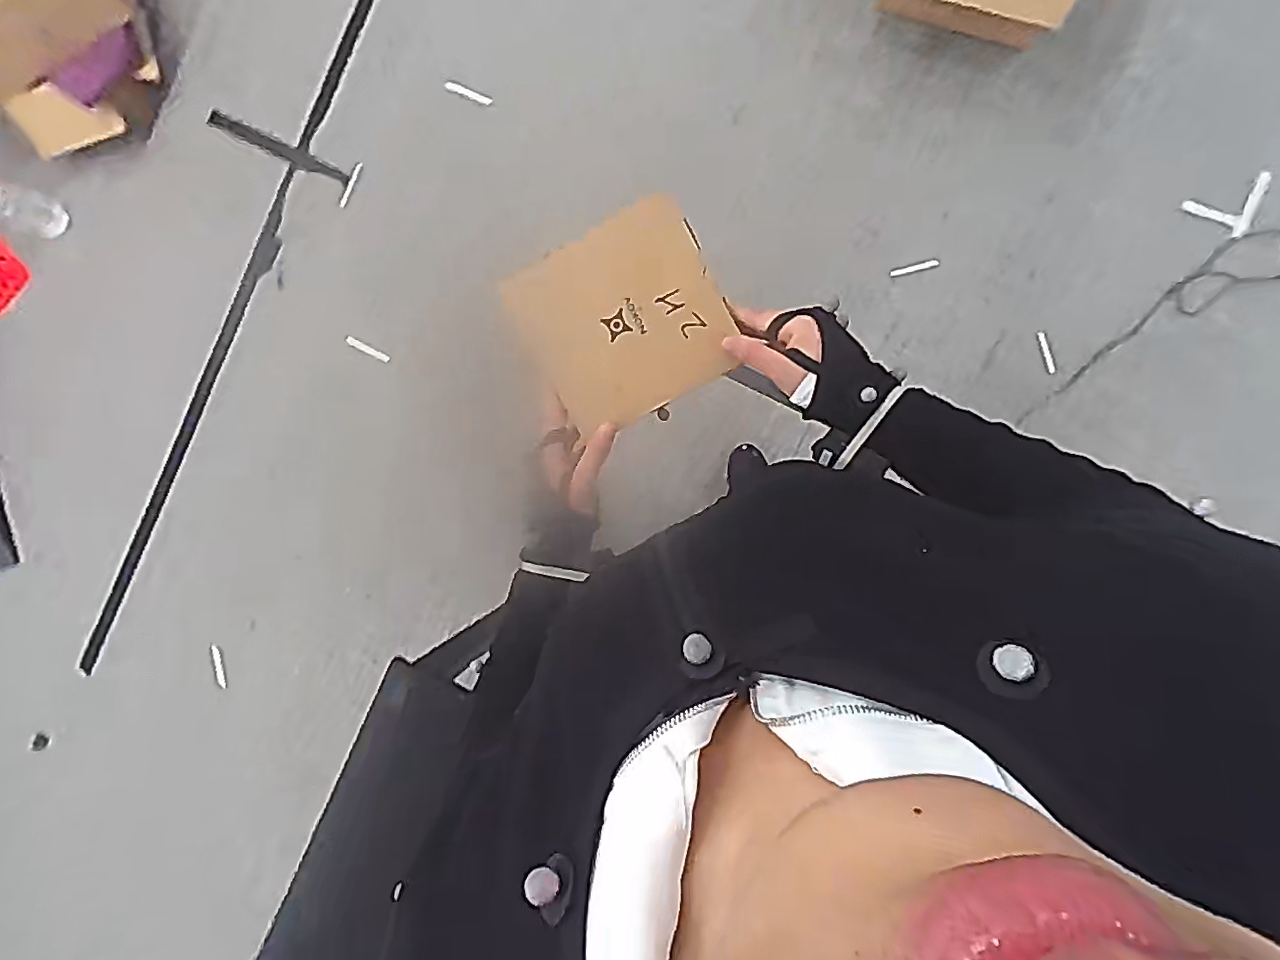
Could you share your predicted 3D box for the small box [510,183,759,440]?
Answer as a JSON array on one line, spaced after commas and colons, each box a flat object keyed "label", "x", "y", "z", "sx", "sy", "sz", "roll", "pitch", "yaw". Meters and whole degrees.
[{"label": "small box", "x": 0.001, "y": -0.158, "z": 0.555, "sx": 0.179, "sy": 0.176, "sz": 0.168, "roll": -26, "pitch": 100, "yaw": 8}]
